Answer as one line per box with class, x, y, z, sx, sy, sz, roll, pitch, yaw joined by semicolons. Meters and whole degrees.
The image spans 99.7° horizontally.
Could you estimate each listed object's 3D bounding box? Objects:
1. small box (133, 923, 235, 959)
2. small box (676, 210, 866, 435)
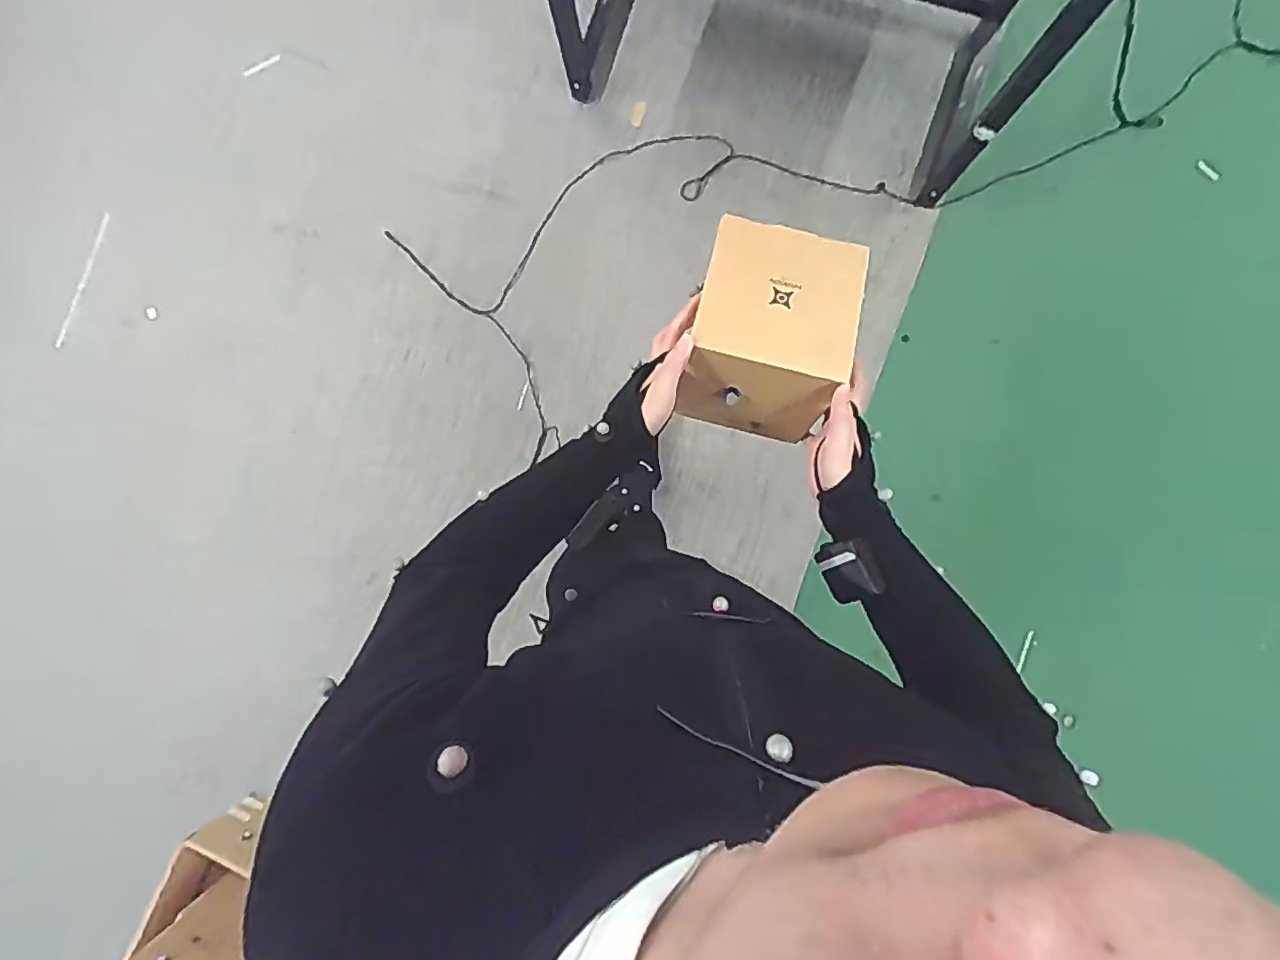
small box;-0.878;0.969;0.977;0.168;0.176;0.179;25;89;5
small box;0.141;-0.172;0.636;0.168;0.176;0.179;14;72;3
